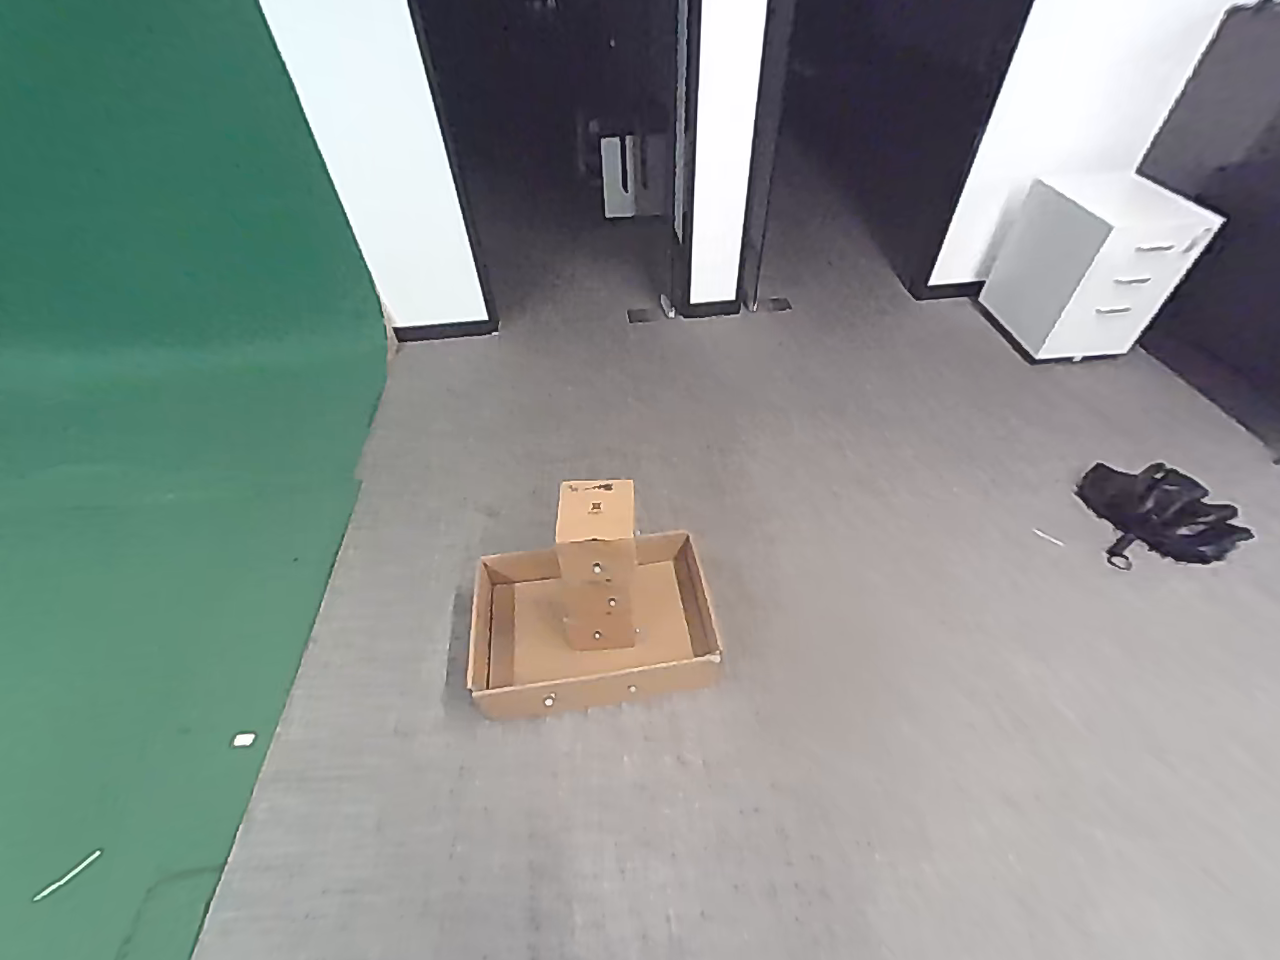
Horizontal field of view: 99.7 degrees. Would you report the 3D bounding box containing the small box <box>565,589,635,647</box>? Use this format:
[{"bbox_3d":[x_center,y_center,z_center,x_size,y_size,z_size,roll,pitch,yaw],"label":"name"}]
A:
[{"bbox_3d":[-0.103,0.346,1.491,0.179,0.176,0.168,-4,46,2],"label":"small box"}]

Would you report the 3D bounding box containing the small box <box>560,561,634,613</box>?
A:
[{"bbox_3d":[-0.101,0.221,1.364,0.168,0.176,0.179,0,46,1],"label":"small box"}]

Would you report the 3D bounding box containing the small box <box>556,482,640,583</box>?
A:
[{"bbox_3d":[-0.090,0.127,1.256,0.168,0.176,0.179,-4,46,3],"label":"small box"}]
